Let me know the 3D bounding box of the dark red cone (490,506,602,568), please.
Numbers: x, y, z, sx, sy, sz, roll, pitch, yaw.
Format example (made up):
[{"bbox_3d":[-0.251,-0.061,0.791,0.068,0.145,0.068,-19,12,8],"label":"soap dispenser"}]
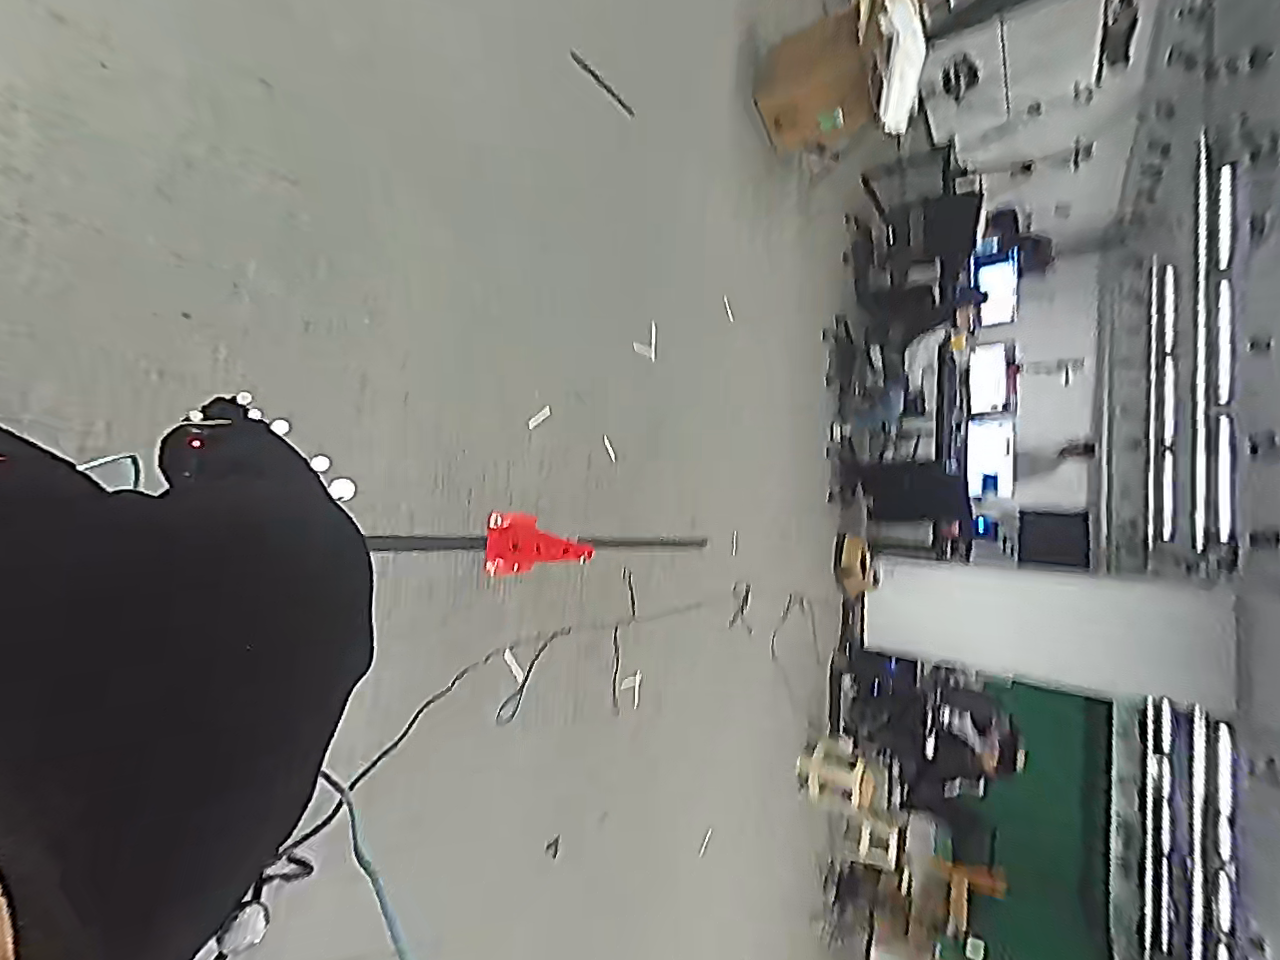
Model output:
[{"bbox_3d":[-0.282,0.194,1.699,0.202,0.394,0.201,6,87,-54],"label":"dark red cone"}]
